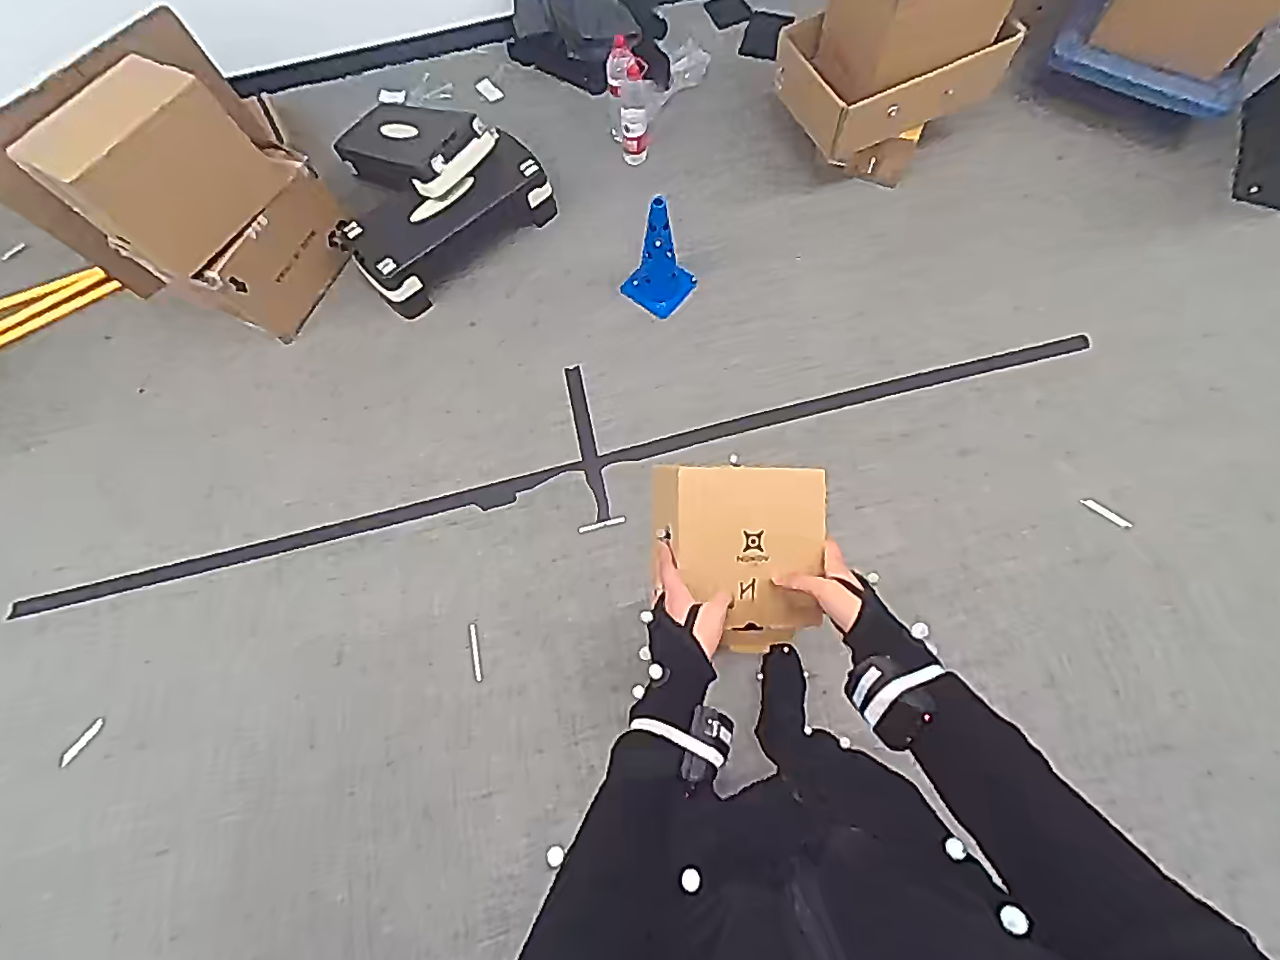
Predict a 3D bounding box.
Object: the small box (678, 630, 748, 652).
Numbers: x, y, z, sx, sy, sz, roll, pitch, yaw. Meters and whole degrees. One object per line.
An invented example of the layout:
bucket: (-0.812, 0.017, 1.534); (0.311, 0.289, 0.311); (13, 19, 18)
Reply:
small box: (0.178, 0.349, 1.415); (0.168, 0.176, 0.179); (-10, 71, 0)

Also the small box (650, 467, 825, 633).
small box: (0.106, 0.074, 0.656); (0.168, 0.176, 0.179); (1, 92, -8)
